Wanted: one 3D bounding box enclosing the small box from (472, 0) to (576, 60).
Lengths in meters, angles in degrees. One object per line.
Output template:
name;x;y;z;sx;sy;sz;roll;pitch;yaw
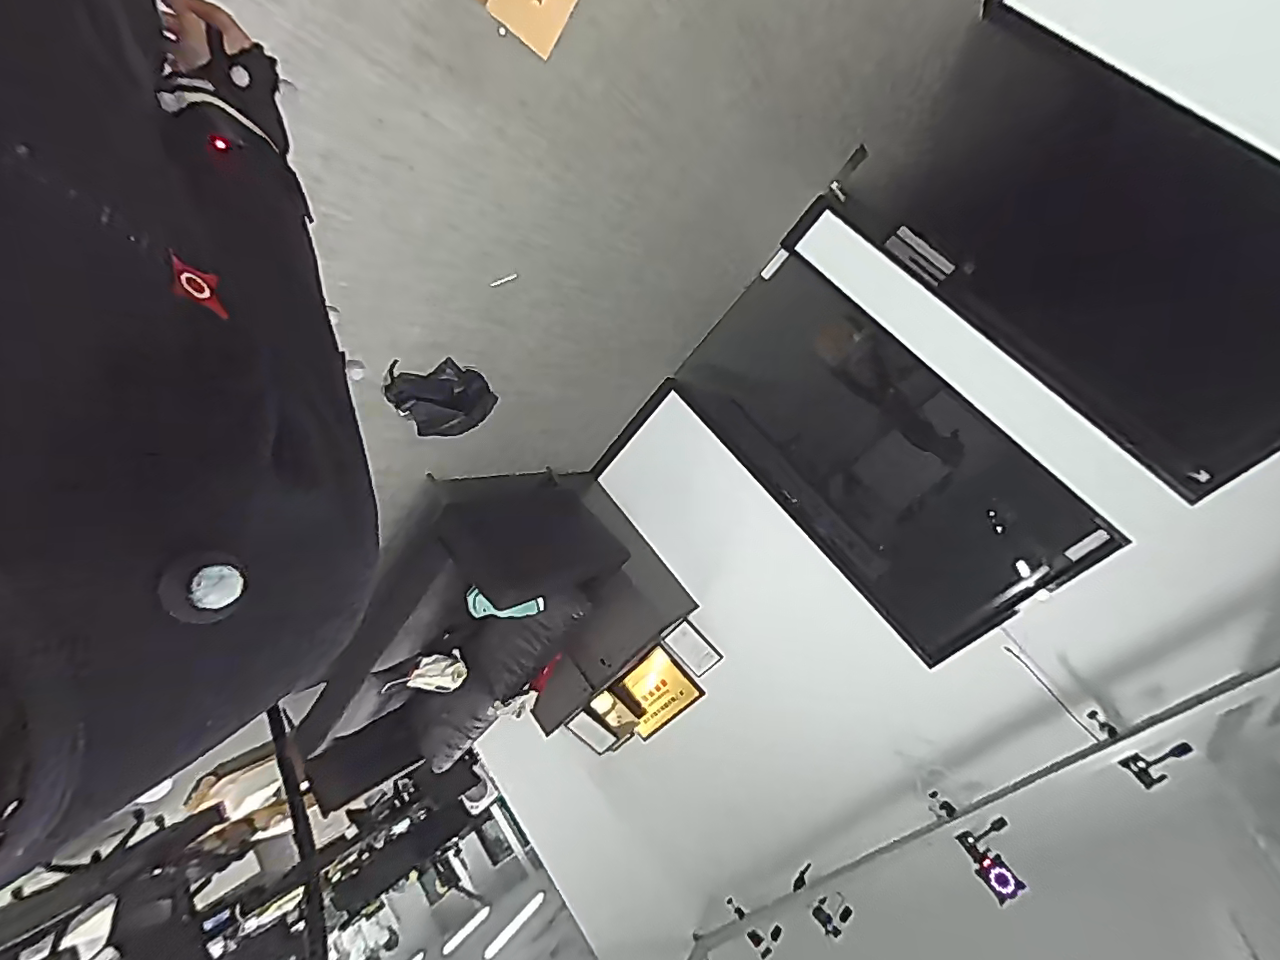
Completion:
small box;-0.253;-1.014;1.087;0.168;0.176;0.179;-48;160;26
